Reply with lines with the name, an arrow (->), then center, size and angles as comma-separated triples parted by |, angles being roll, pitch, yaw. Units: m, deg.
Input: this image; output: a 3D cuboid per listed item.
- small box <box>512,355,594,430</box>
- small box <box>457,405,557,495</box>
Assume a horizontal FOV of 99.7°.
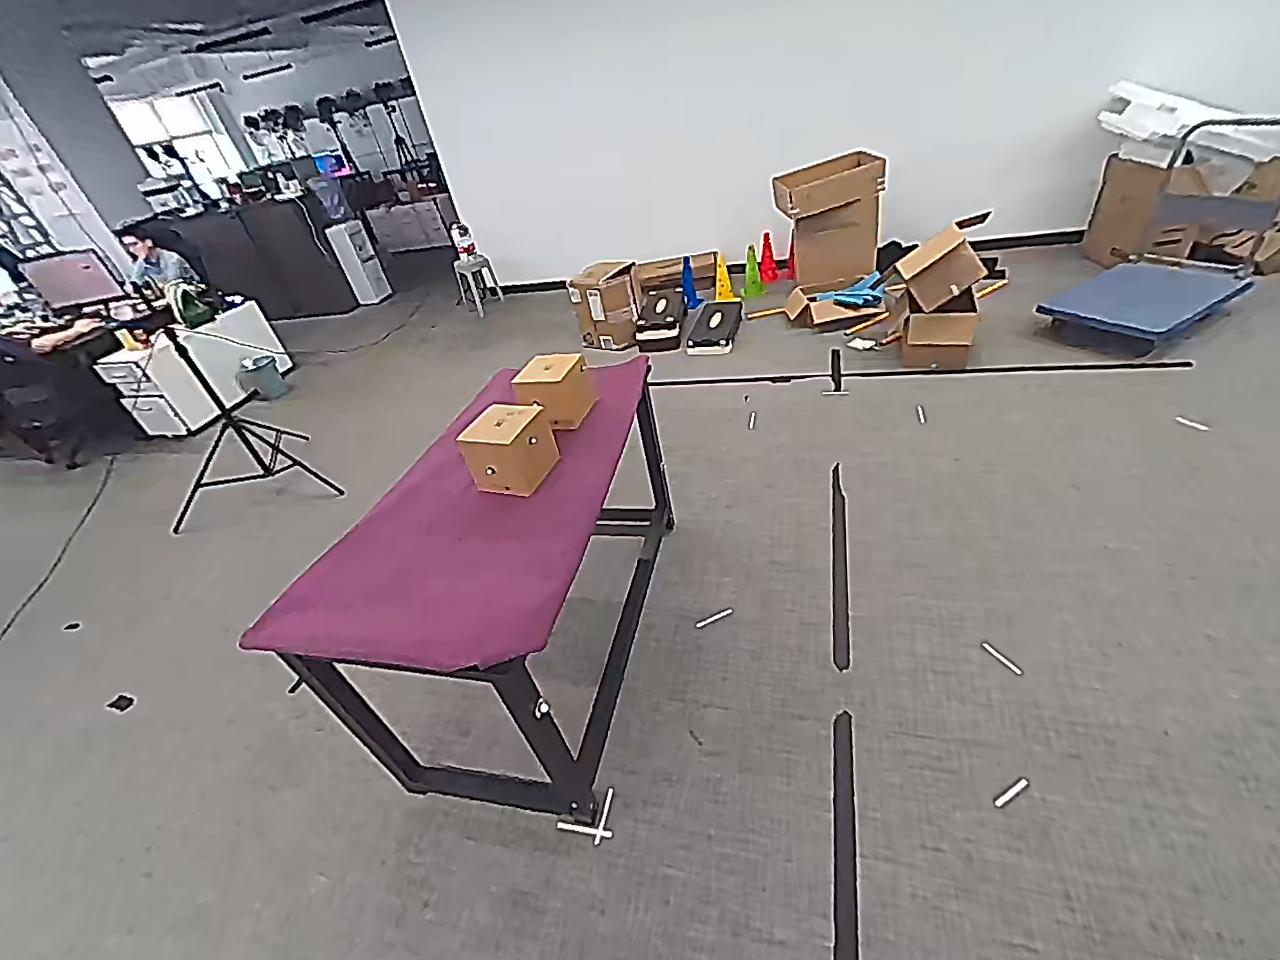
small box -> -0.256, -0.264, 1.645 | 0.168, 0.176, 0.179 | 2, 39, 20
small box -> -0.340, -0.079, 1.425 | 0.168, 0.176, 0.179 | 6, 40, 22
